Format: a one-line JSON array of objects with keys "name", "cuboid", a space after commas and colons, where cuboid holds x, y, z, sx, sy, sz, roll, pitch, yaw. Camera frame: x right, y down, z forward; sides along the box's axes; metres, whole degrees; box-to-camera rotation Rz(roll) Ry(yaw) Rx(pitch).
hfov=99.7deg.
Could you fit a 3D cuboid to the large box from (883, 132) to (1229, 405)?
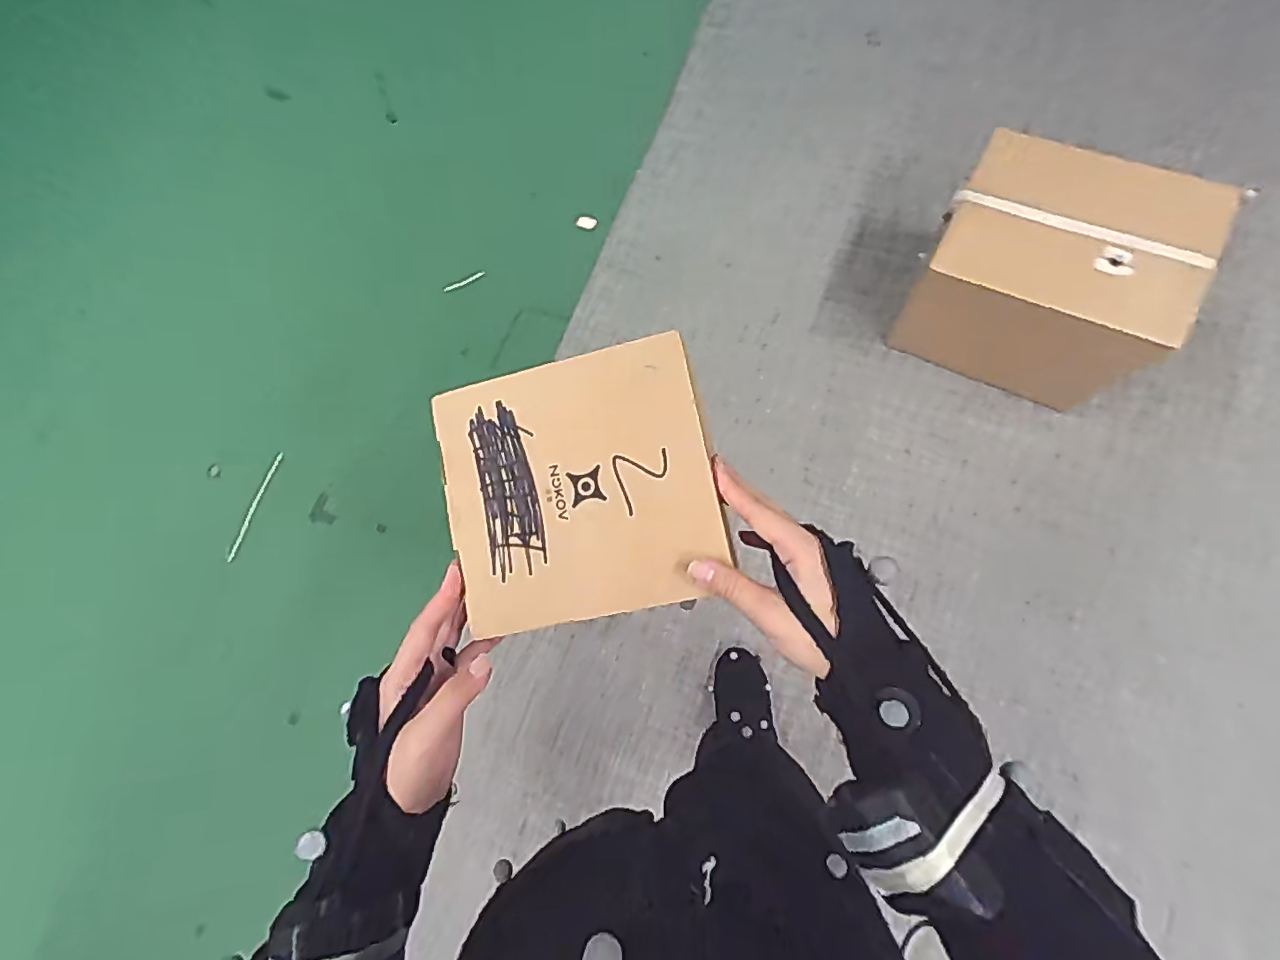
[{"name": "large box", "cuboid": [0.769, -0.399, 1.074, 0.408, 0.320, 0.320, 25, 84, 14]}]
